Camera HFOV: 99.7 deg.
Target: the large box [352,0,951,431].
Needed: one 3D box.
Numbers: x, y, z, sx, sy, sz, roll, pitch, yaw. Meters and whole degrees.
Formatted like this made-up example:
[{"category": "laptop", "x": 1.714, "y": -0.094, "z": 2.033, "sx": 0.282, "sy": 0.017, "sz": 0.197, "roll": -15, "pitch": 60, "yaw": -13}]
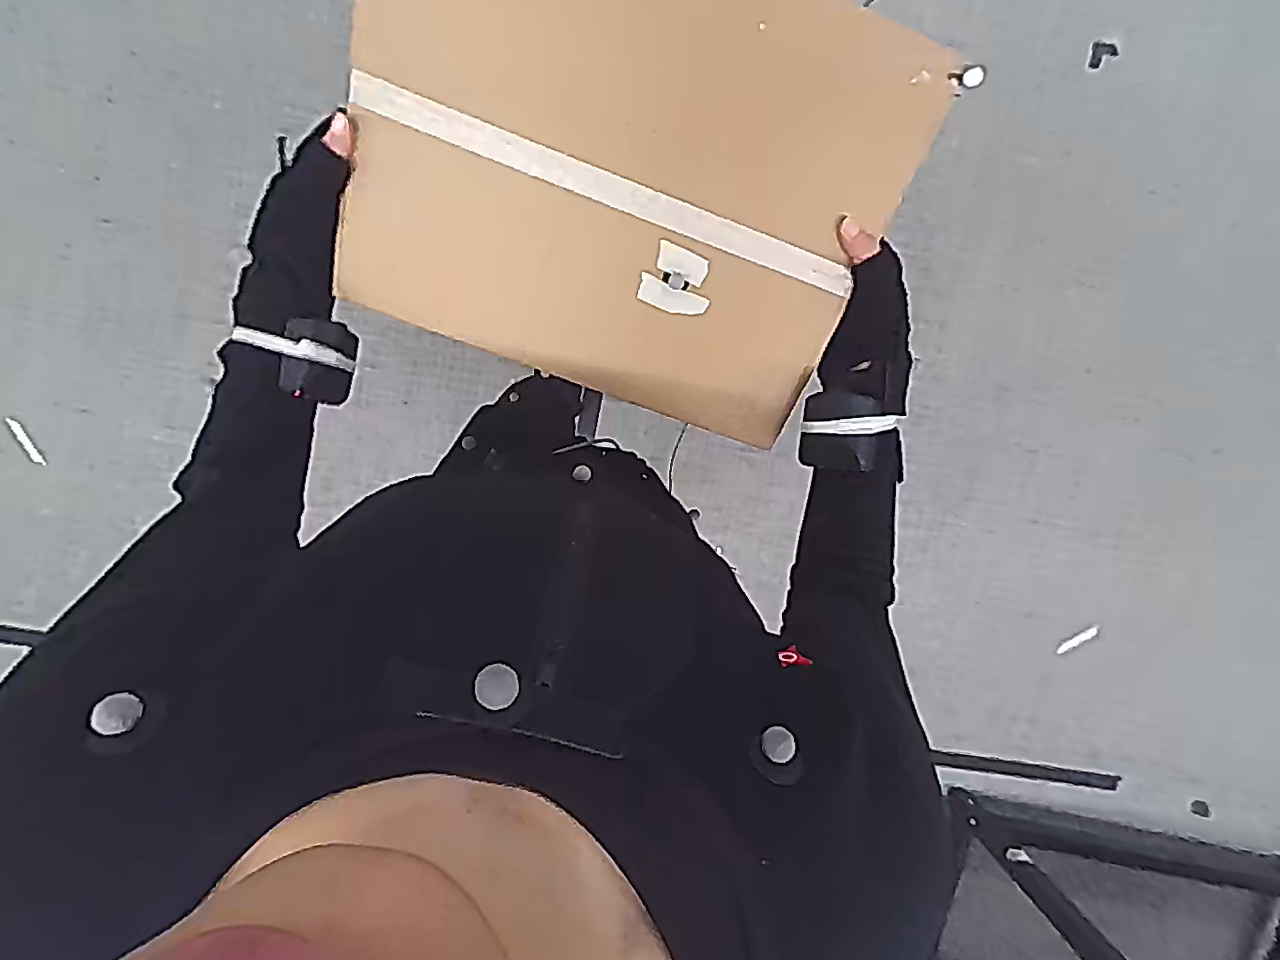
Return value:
[{"category": "large box", "x": -0.012, "y": -0.298, "z": 0.553, "sx": 0.408, "sy": 0.320, "sz": 0.320, "roll": 18, "pitch": 118, "yaw": -8}]
